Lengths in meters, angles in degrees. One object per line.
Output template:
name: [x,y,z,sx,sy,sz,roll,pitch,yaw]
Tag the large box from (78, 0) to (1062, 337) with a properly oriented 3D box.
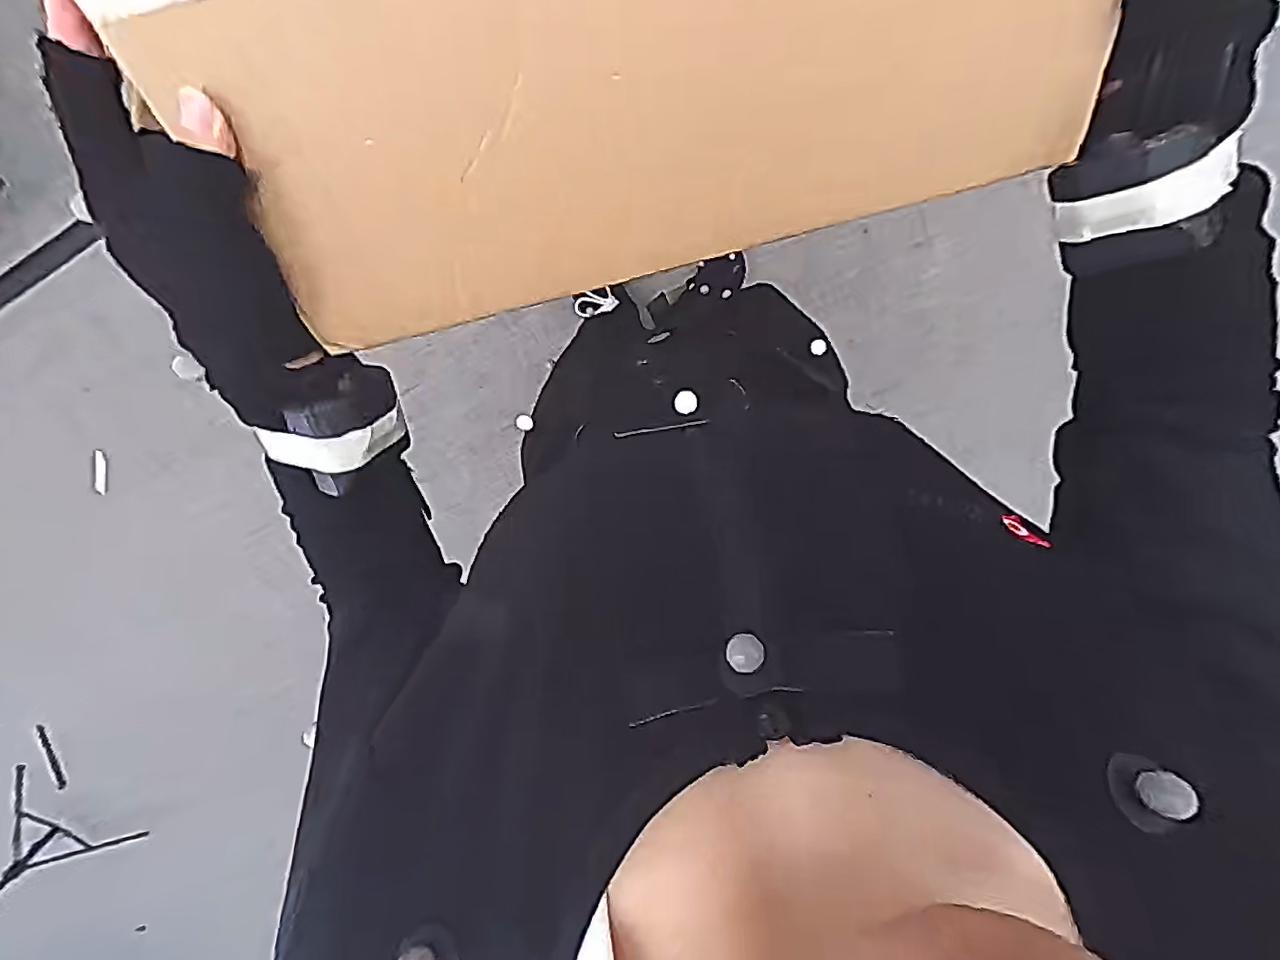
large box: [-0.040,-0.336,0.294,0.408,0.320,0.320,-14,133,3]
